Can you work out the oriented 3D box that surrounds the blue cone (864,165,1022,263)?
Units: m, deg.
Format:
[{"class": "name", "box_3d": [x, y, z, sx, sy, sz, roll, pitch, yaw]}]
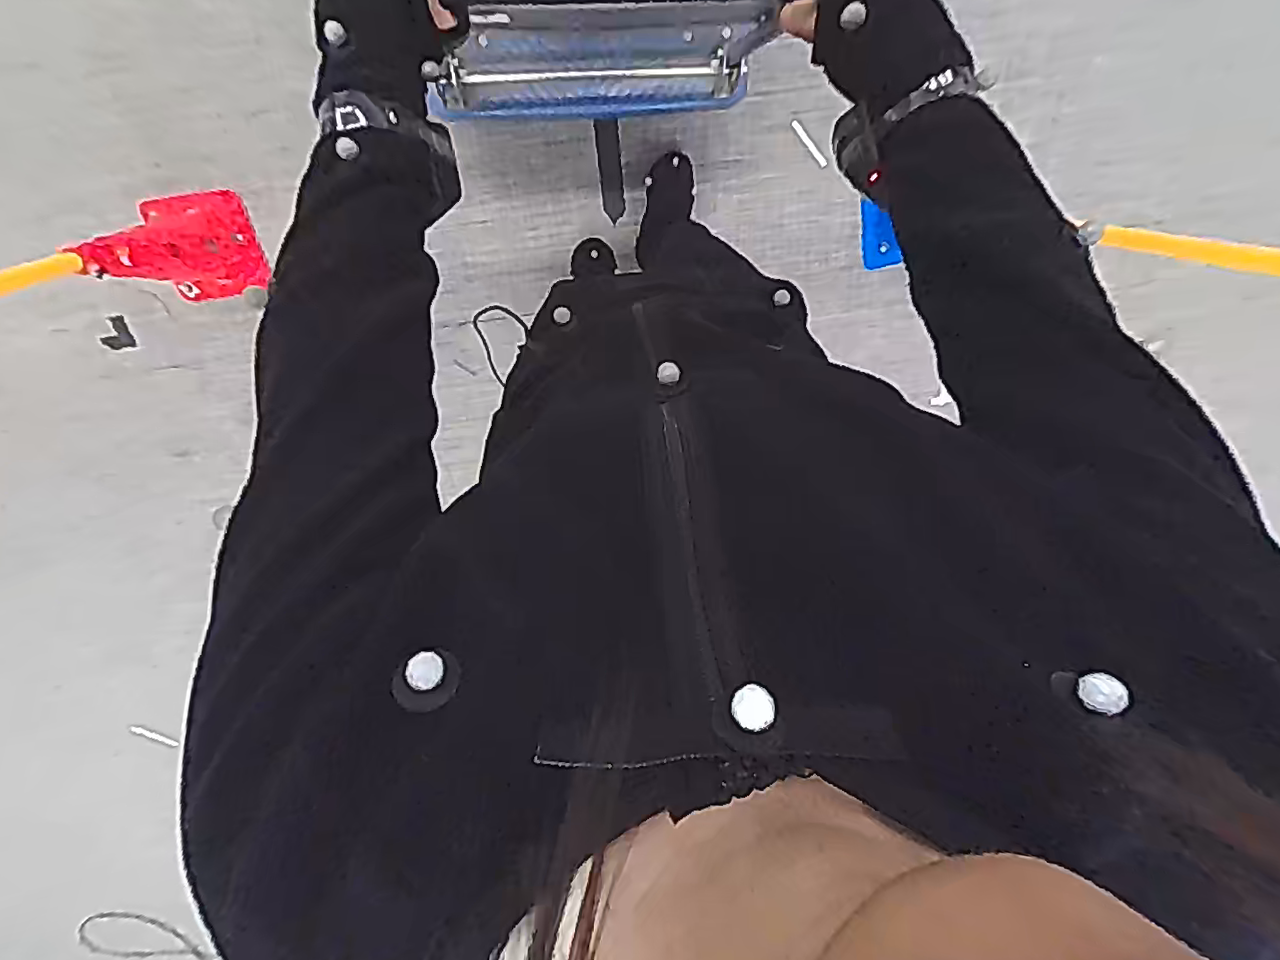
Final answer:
[{"class": "blue cone", "box_3d": [0.647, -0.557, 1.137, 0.193, 0.380, 0.192, -13, 116, -2]}]
